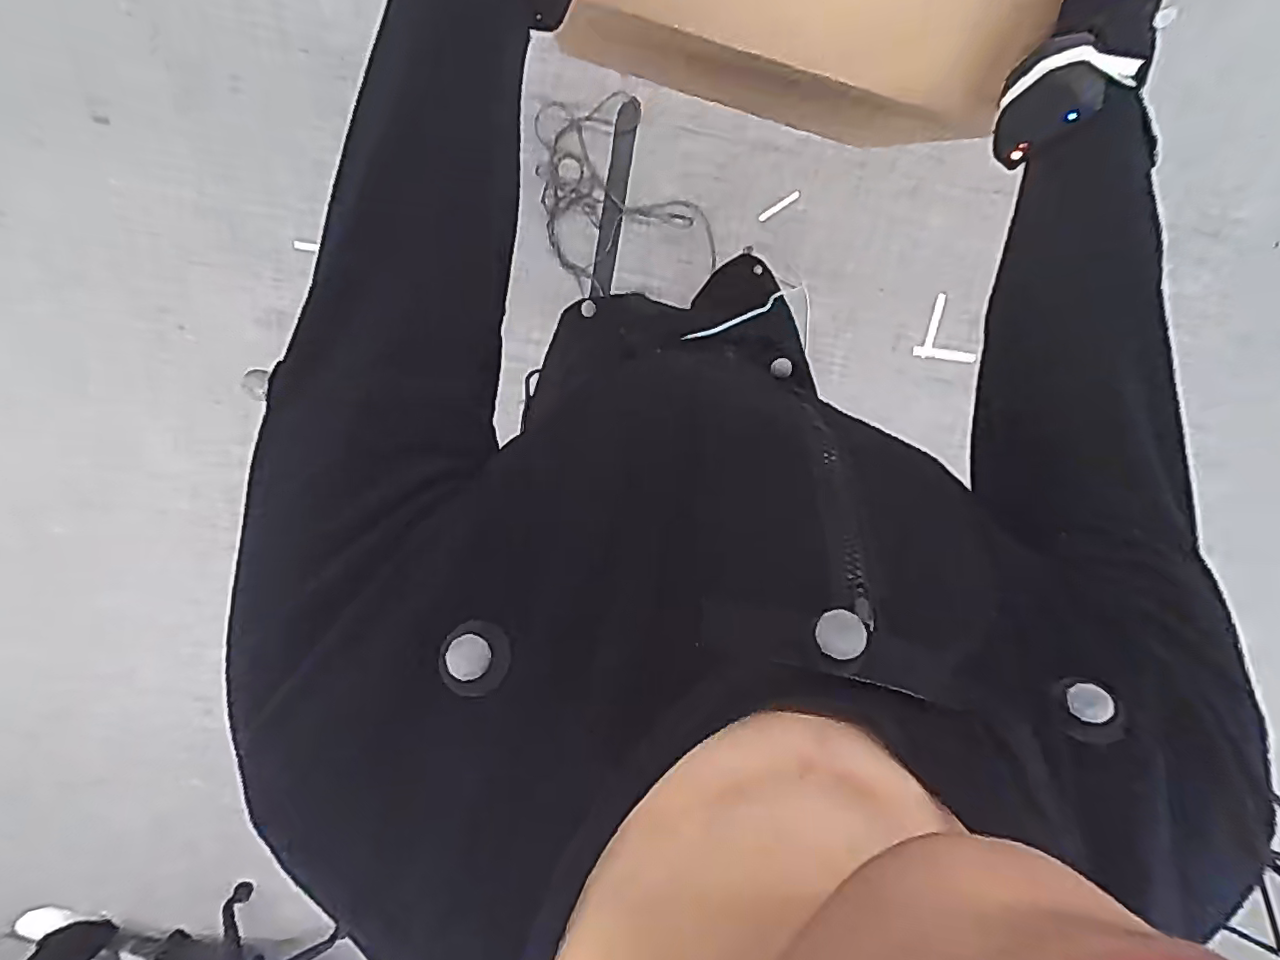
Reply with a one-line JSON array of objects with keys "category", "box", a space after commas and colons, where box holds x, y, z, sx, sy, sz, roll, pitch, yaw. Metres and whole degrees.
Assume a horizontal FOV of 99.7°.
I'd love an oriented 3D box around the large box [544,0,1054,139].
[{"category": "large box", "box": [0.137, -0.539, 0.489, 0.408, 0.320, 0.320, 10, 120, -9]}]
